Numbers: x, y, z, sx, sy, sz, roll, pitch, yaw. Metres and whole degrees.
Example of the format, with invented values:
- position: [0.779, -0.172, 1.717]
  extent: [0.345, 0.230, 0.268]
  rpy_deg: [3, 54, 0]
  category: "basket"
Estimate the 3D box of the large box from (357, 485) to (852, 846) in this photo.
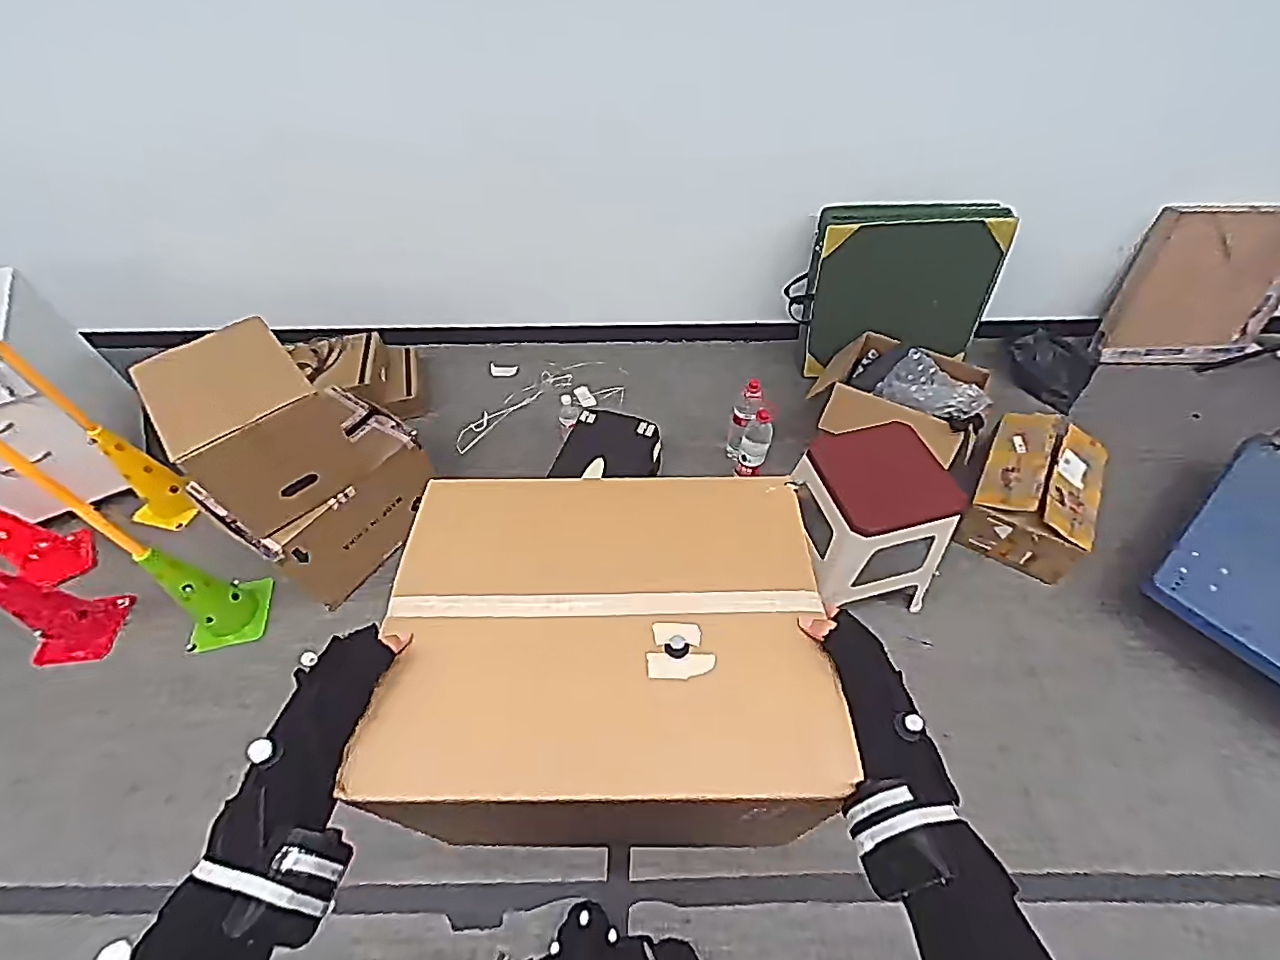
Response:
- position: [-0.029, 0.221, 0.634]
  extent: [0.408, 0.320, 0.320]
  rpy_deg: [0, 50, 0]
  category: "large box"
